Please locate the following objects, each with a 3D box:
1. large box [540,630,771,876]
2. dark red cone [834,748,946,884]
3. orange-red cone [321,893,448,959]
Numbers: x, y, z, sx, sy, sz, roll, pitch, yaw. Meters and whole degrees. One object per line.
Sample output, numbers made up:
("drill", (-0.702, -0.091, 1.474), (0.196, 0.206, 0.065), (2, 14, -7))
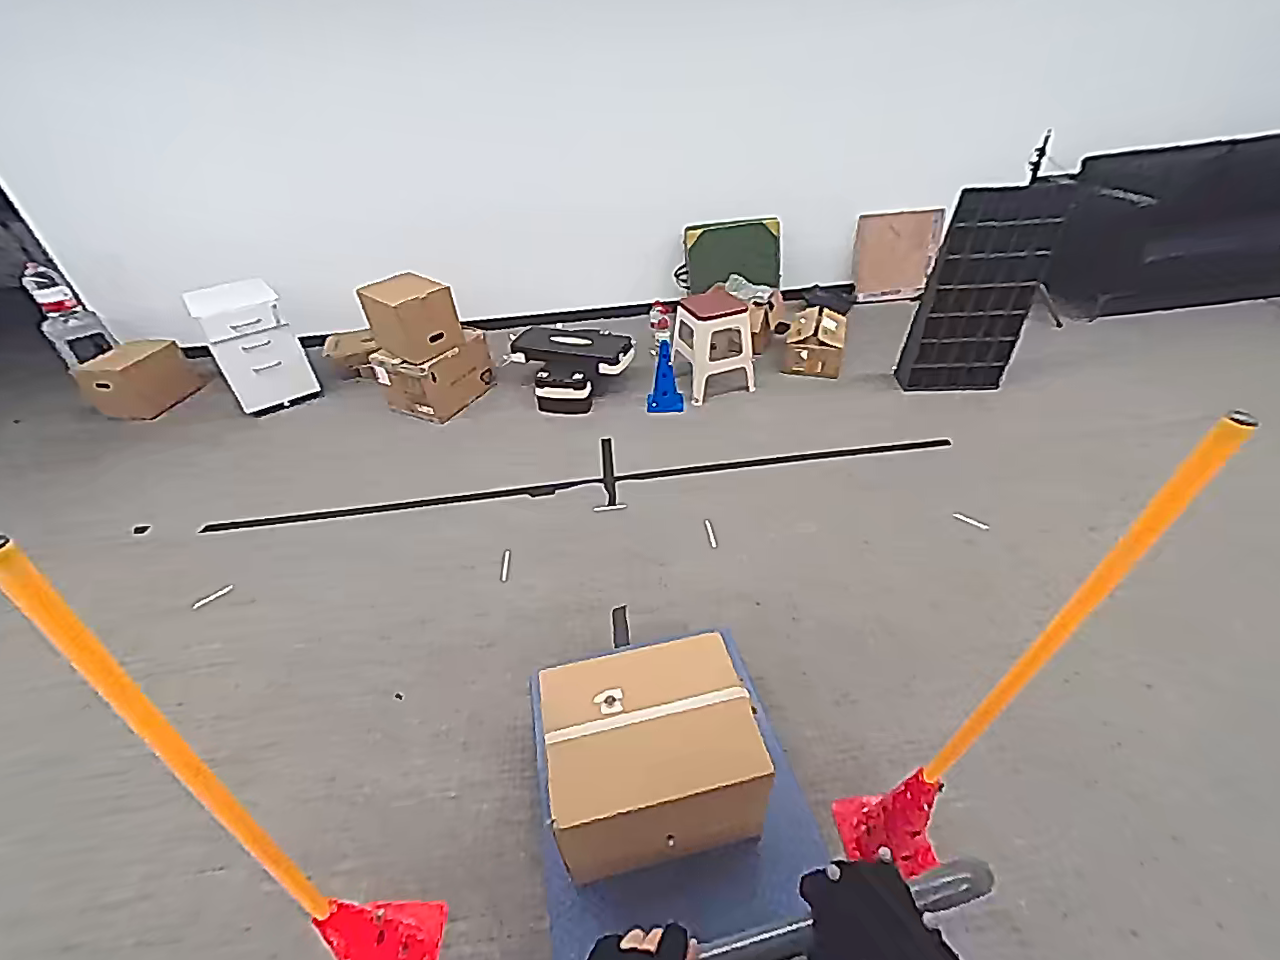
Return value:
("large box", (0.024, 0.578, 1.159), (0.408, 0.320, 0.320), (-11, 39, -7))
("dark red cone", (0.575, 0.694, 1.166), (0.201, 0.394, 0.202), (-5, 38, -4))
("orange-red cone", (-0.537, 0.884, 1.057), (0.198, 0.360, 0.199), (-1, 37, 3))
